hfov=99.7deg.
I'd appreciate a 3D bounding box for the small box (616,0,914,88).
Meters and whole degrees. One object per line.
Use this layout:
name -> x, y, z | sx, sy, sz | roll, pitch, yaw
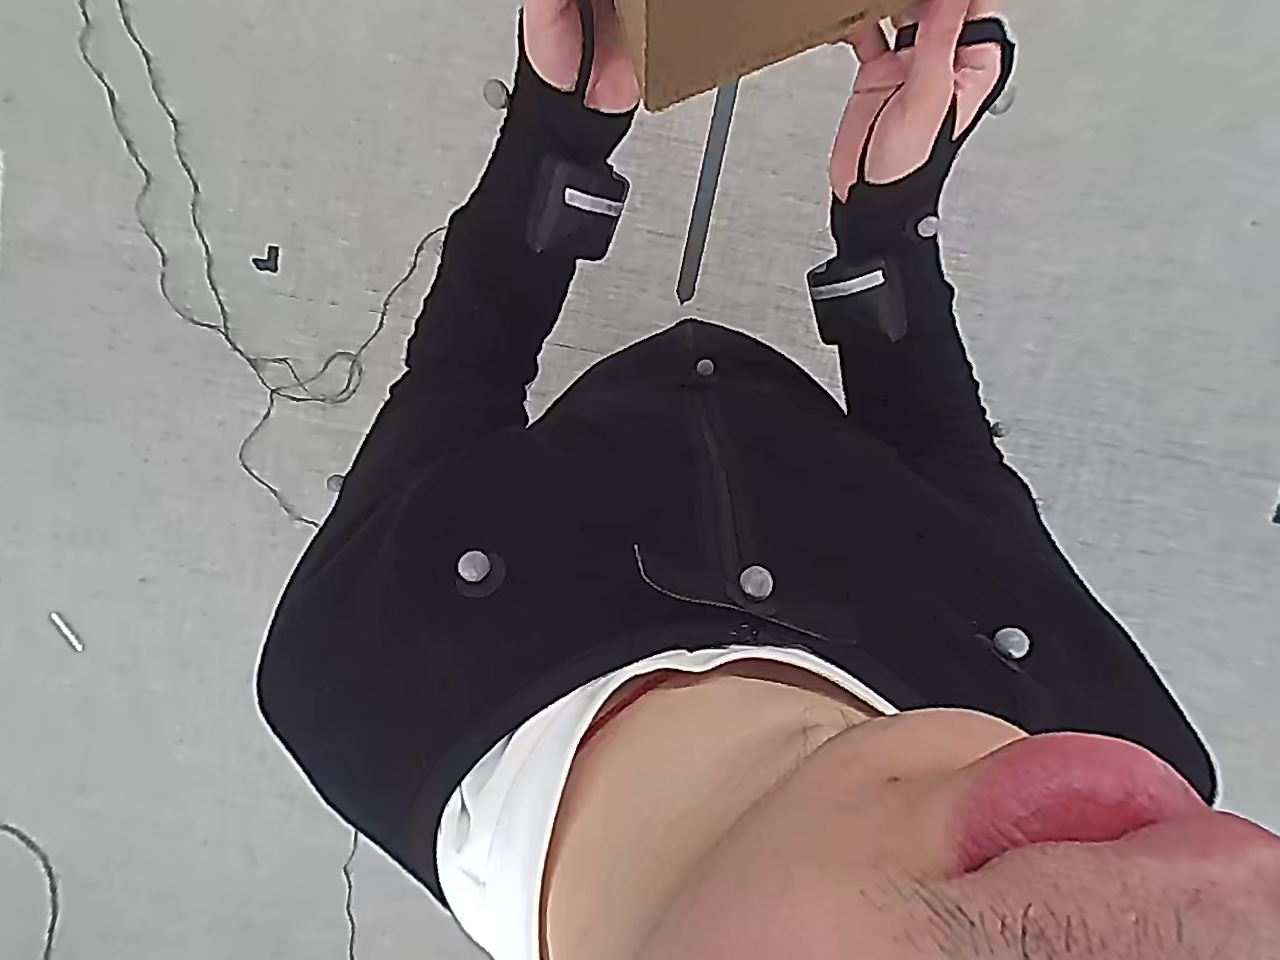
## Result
small box -> 0.055, -0.274, 0.189 | 0.168, 0.176, 0.179 | -19, 110, 7
